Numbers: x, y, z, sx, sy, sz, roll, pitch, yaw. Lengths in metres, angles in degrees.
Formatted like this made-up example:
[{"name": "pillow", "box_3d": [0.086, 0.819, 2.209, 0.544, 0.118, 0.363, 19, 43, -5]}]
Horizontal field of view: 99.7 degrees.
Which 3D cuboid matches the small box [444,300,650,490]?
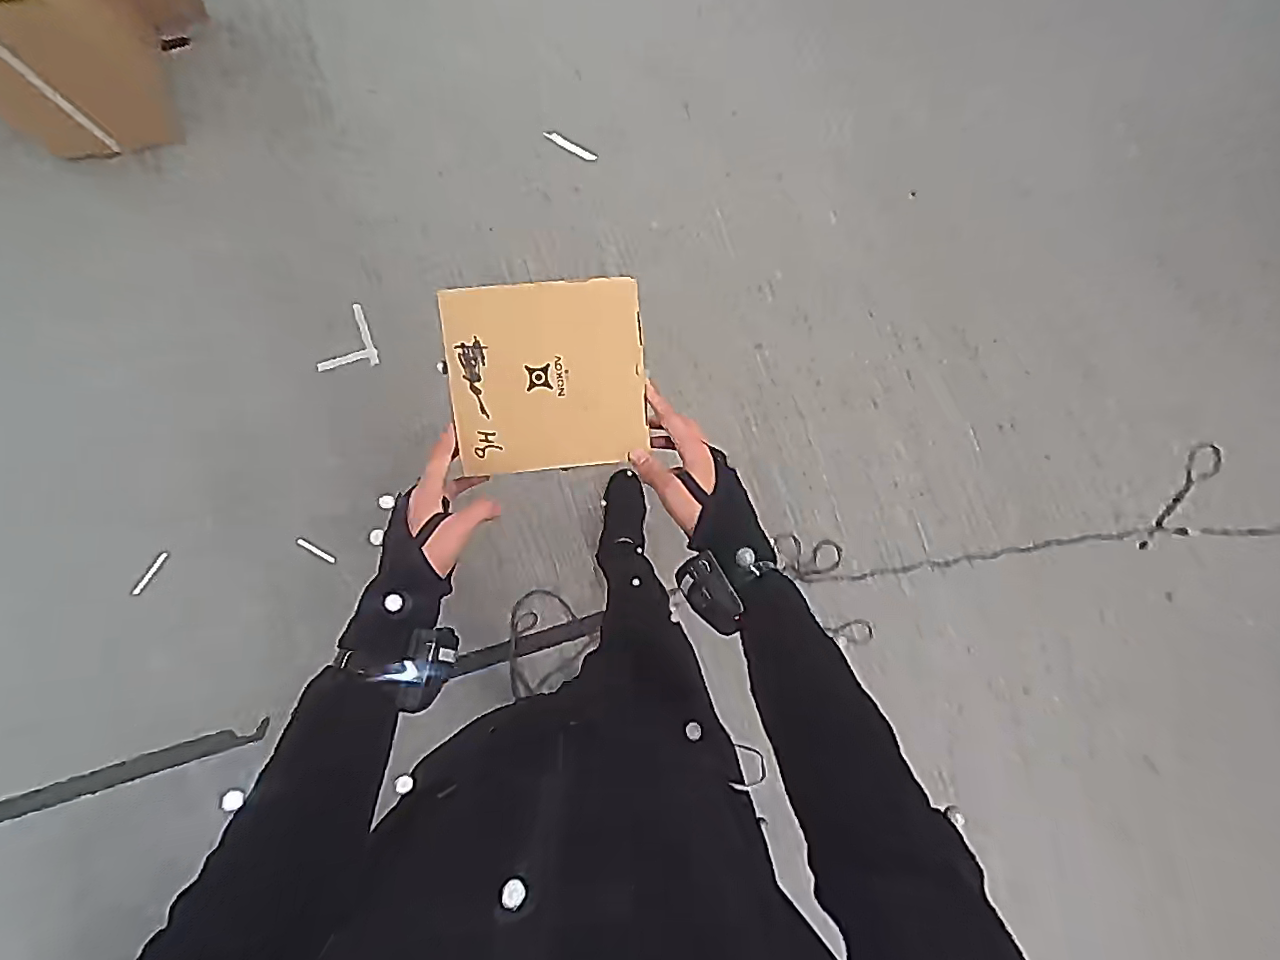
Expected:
[{"name": "small box", "box_3d": [-0.091, -0.090, 0.573, 0.179, 0.176, 0.168, -6, 99, -5]}]
